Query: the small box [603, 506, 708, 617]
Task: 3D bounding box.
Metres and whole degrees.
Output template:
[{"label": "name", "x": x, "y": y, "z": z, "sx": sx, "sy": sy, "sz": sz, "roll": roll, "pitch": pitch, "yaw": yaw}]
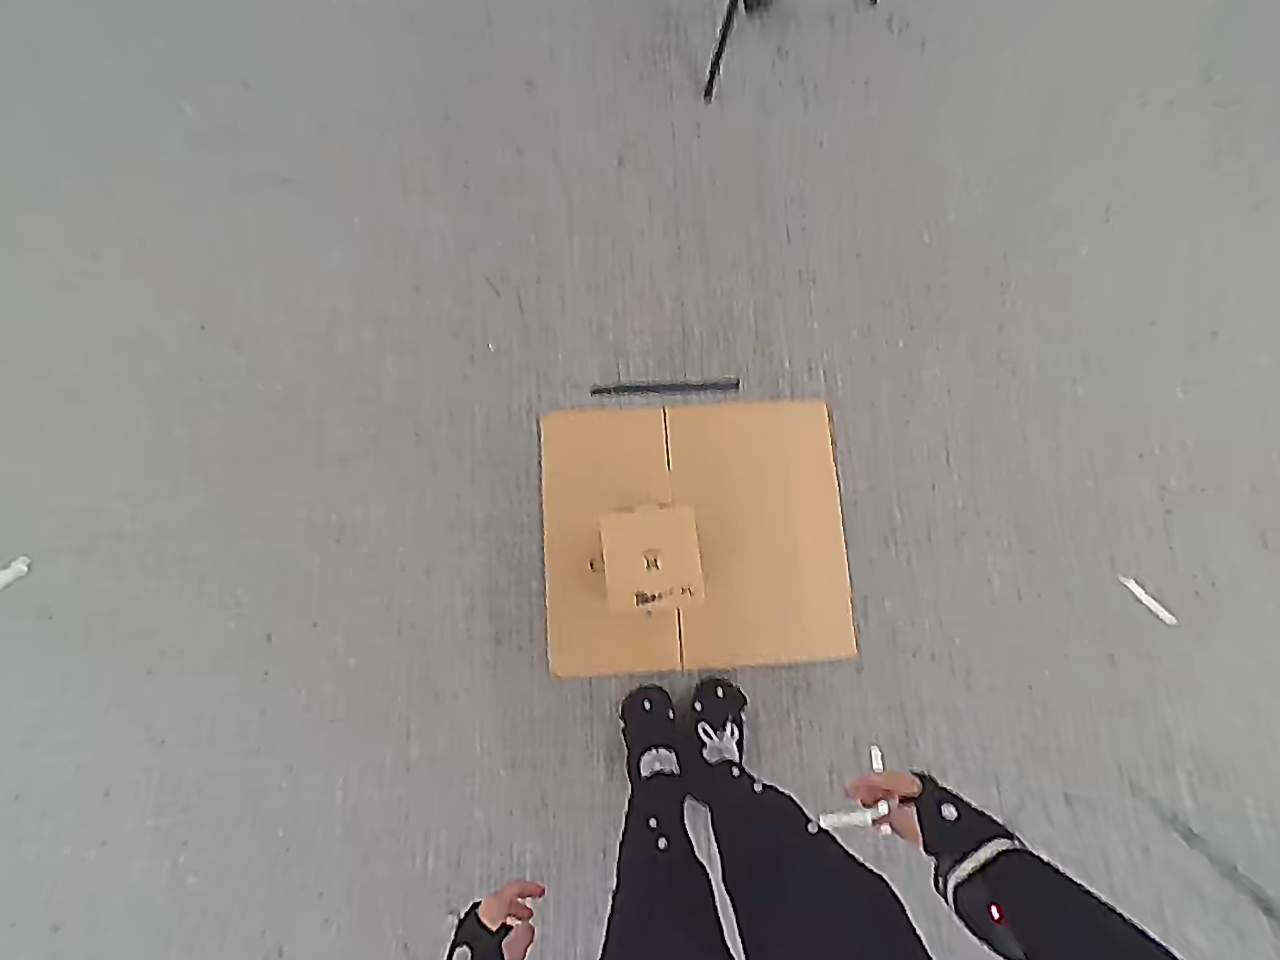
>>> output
[{"label": "small box", "x": 0.021, "y": 0.152, "z": 0.994, "sx": 0.168, "sy": 0.176, "sz": 0.179, "roll": -6, "pitch": 80, "yaw": -3}]
